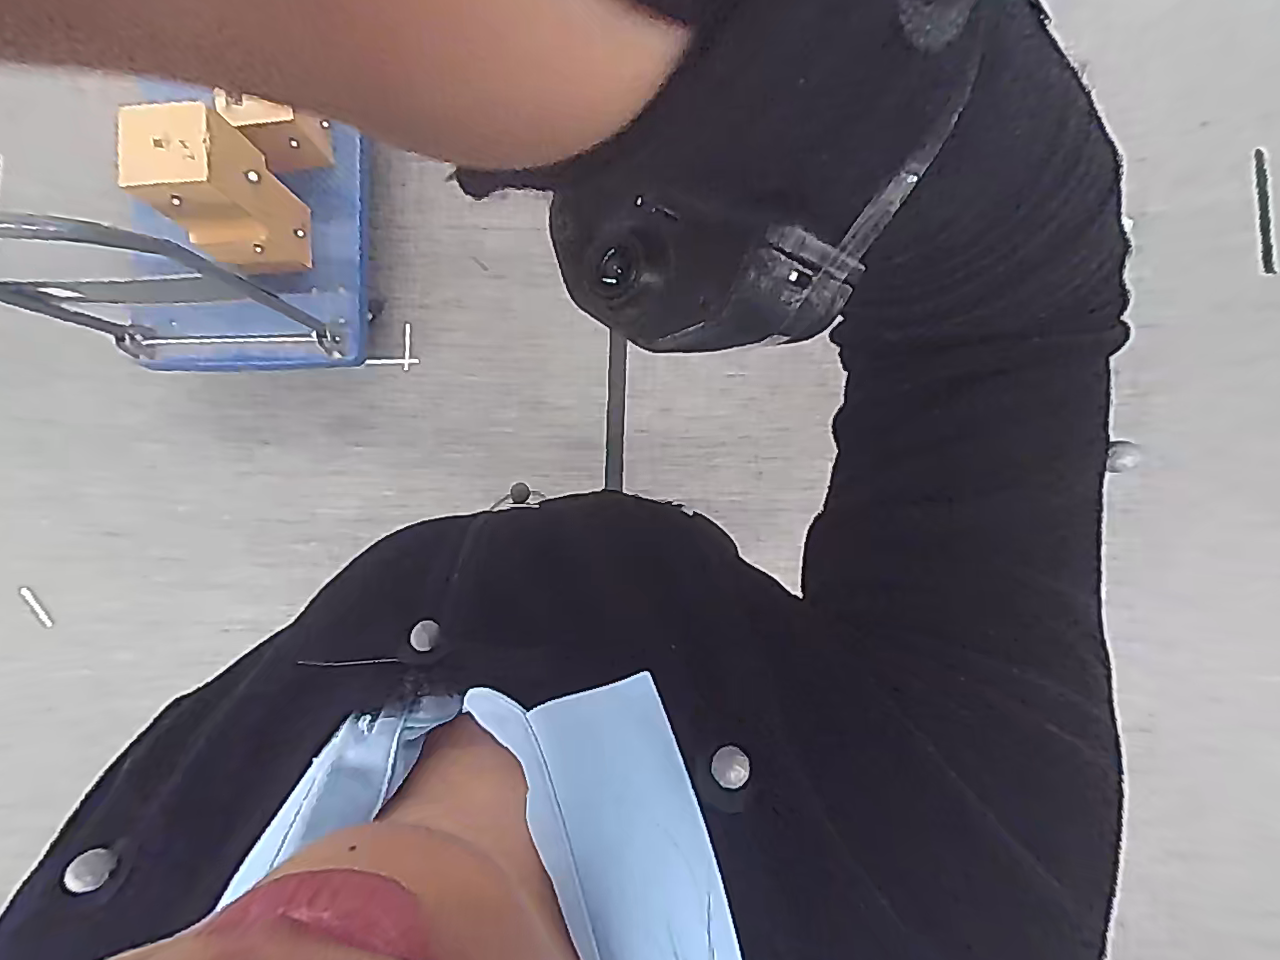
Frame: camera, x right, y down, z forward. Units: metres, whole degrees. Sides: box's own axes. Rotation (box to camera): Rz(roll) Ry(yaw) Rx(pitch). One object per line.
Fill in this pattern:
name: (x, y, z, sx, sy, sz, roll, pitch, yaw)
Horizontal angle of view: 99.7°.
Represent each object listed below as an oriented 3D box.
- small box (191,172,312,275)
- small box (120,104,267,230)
small box: (-0.921, -0.606, 1.291, 0.179, 0.176, 0.168, -4, 86, 0)
small box: (-0.923, -0.643, 1.129, 0.179, 0.176, 0.168, -4, 87, 0)
